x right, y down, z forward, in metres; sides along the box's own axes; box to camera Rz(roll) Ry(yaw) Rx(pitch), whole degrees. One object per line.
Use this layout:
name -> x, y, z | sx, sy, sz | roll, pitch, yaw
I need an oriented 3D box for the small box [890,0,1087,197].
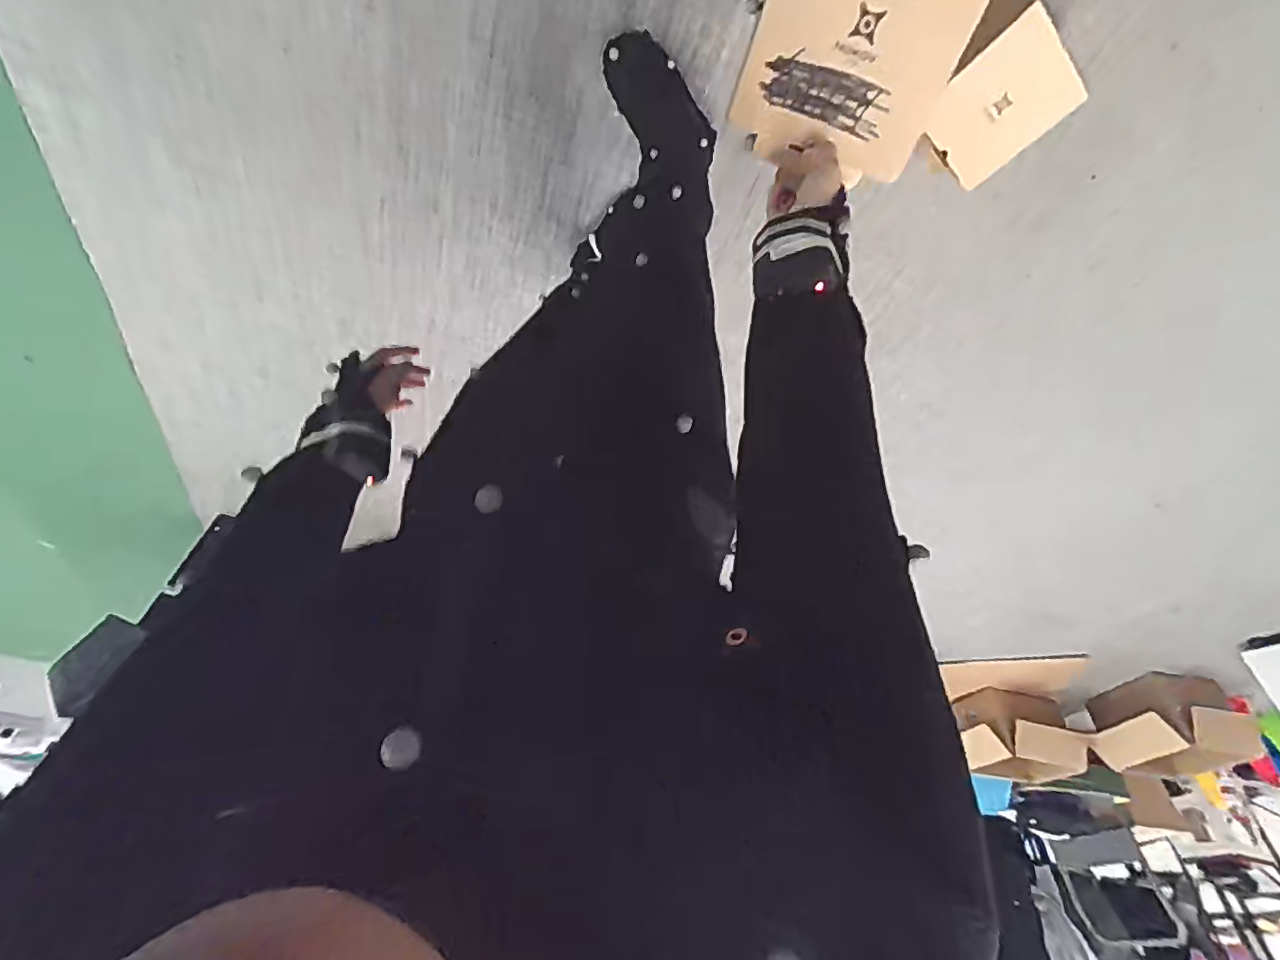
small box -> 0.520, -0.590, 0.829 | 0.168, 0.176, 0.179 | 31, 133, -26
